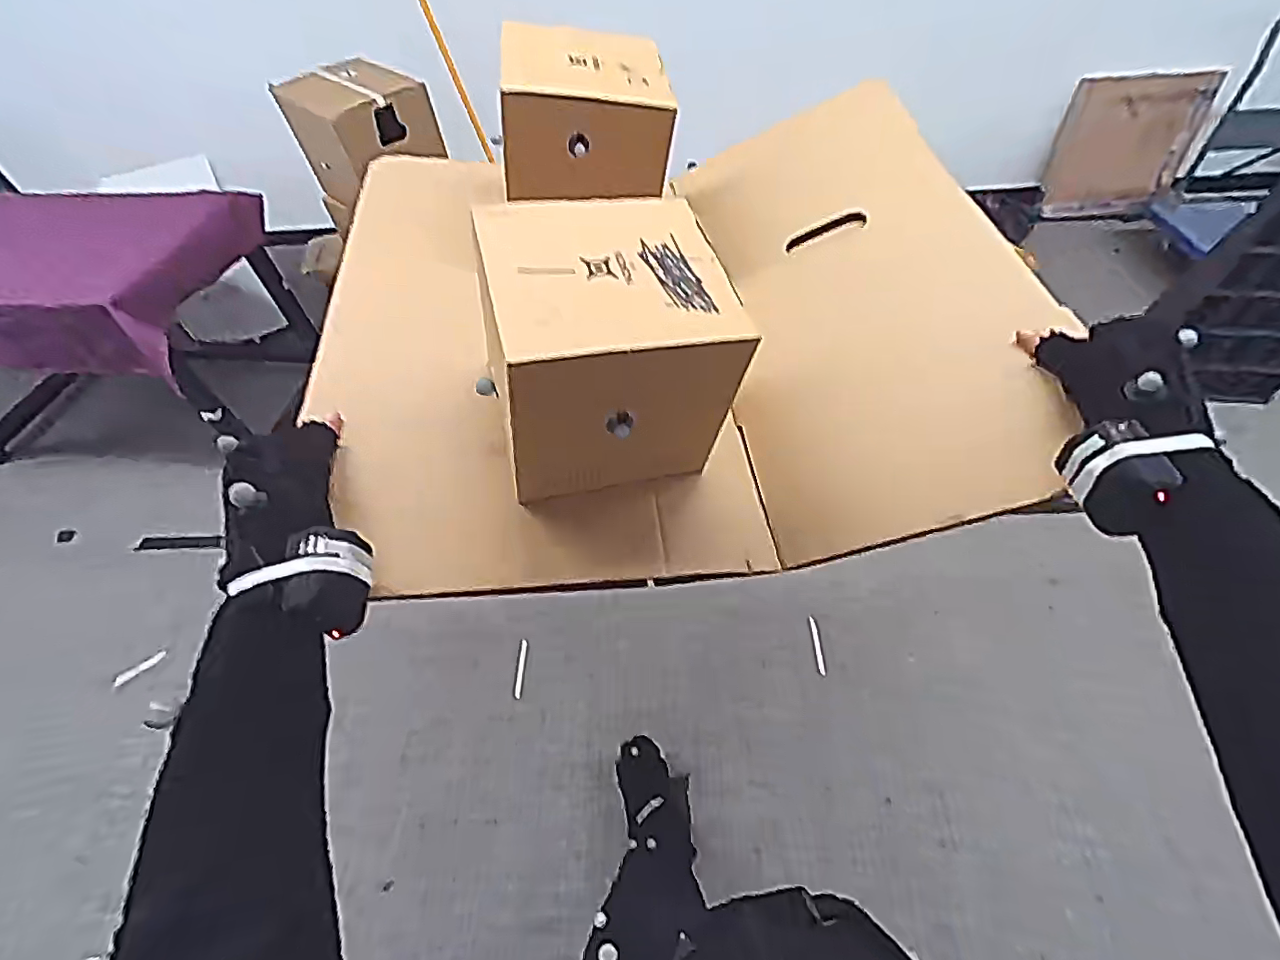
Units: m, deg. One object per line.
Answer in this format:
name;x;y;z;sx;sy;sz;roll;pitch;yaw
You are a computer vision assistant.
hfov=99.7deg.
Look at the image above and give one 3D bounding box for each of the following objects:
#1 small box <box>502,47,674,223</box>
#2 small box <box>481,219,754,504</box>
small box;-0.068;-0.377;0.646;0.179;0.176;0.168;-1;57;-11
small box;-0.032;-0.099;0.468;0.179;0.176;0.168;-10;59;-15
